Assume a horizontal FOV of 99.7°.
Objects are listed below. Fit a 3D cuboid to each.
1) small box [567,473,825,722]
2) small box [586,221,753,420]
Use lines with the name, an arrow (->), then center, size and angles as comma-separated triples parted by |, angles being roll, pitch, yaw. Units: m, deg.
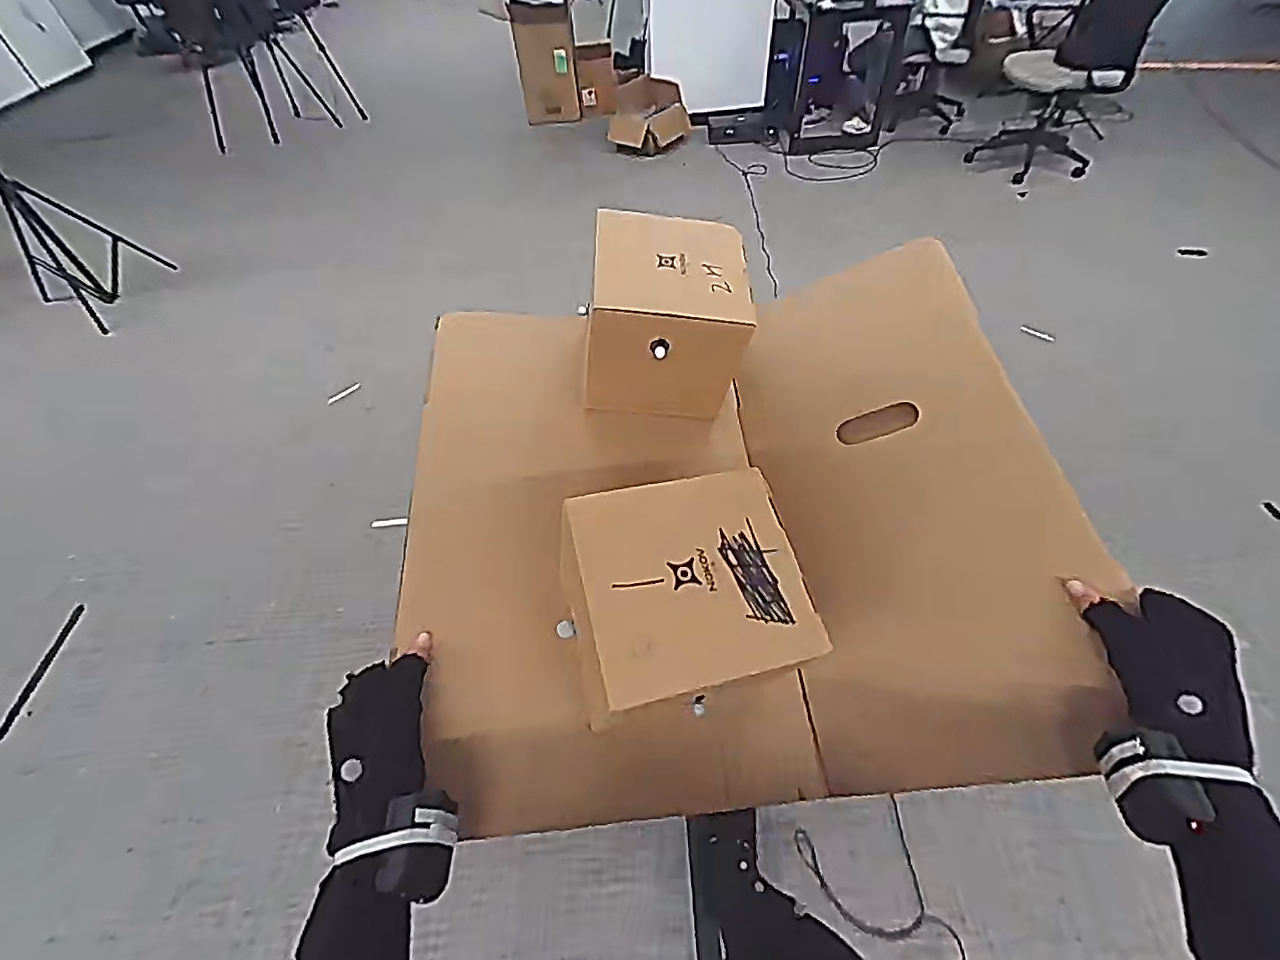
small box -> 0.033, 0.114, 0.503 | 0.179, 0.176, 0.168 | -9, 62, -14
small box -> 0.026, -0.192, 0.680 | 0.179, 0.176, 0.168 | 4, 60, -8
